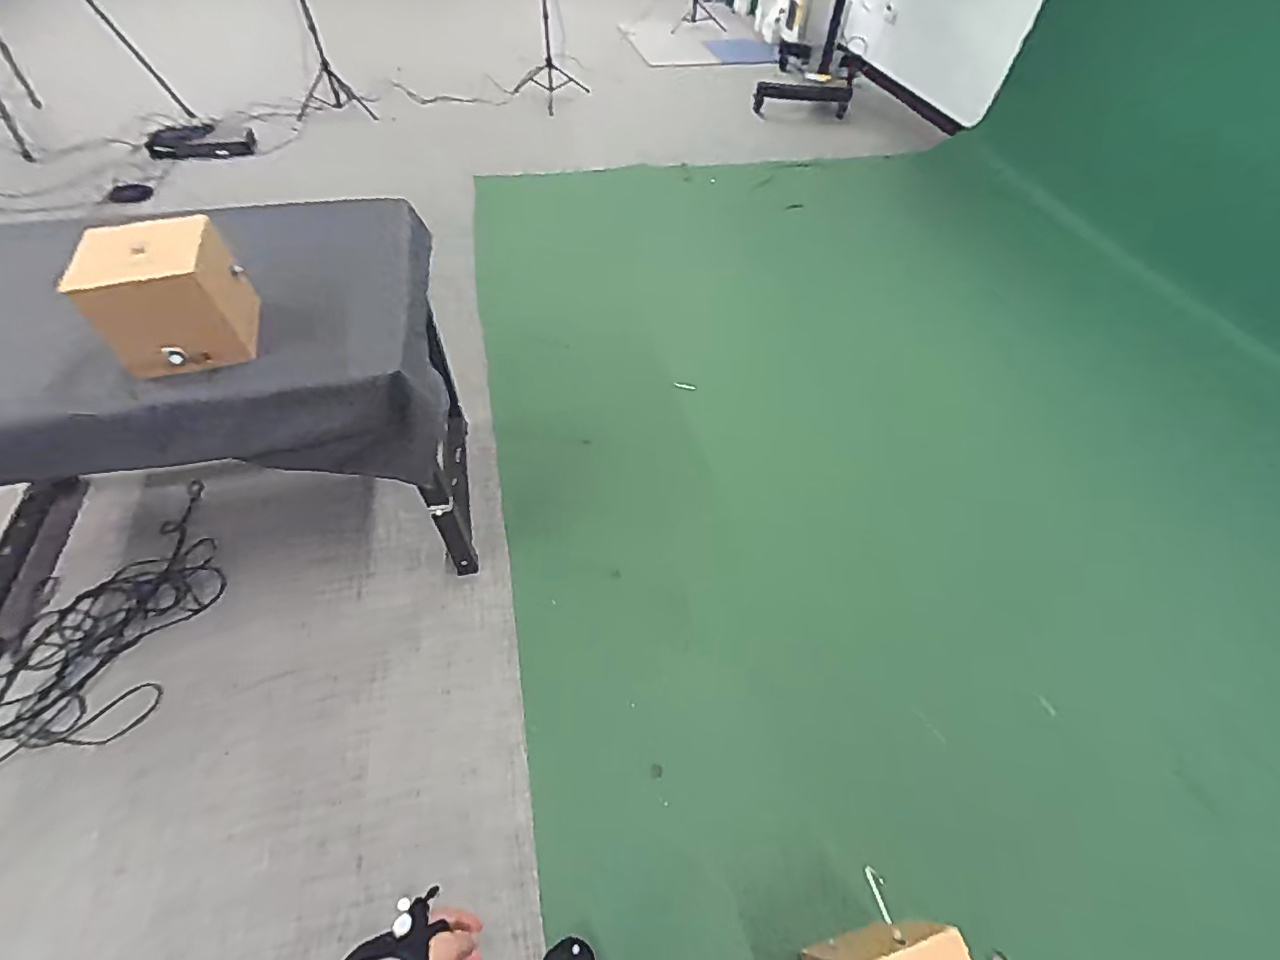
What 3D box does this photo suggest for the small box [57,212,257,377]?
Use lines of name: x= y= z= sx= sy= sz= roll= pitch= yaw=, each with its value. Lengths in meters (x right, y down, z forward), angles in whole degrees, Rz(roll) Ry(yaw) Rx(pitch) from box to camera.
small box: x=-0.738 y=-0.291 z=0.854 sx=0.168 sy=0.176 sz=0.179 roll=-16 pitch=56 yaw=-14

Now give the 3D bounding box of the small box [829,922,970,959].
small box: x=0.404 y=0.791 z=0.807 sx=0.179 sy=0.176 sz=0.168 roll=-12 pitch=54 yaw=-12
